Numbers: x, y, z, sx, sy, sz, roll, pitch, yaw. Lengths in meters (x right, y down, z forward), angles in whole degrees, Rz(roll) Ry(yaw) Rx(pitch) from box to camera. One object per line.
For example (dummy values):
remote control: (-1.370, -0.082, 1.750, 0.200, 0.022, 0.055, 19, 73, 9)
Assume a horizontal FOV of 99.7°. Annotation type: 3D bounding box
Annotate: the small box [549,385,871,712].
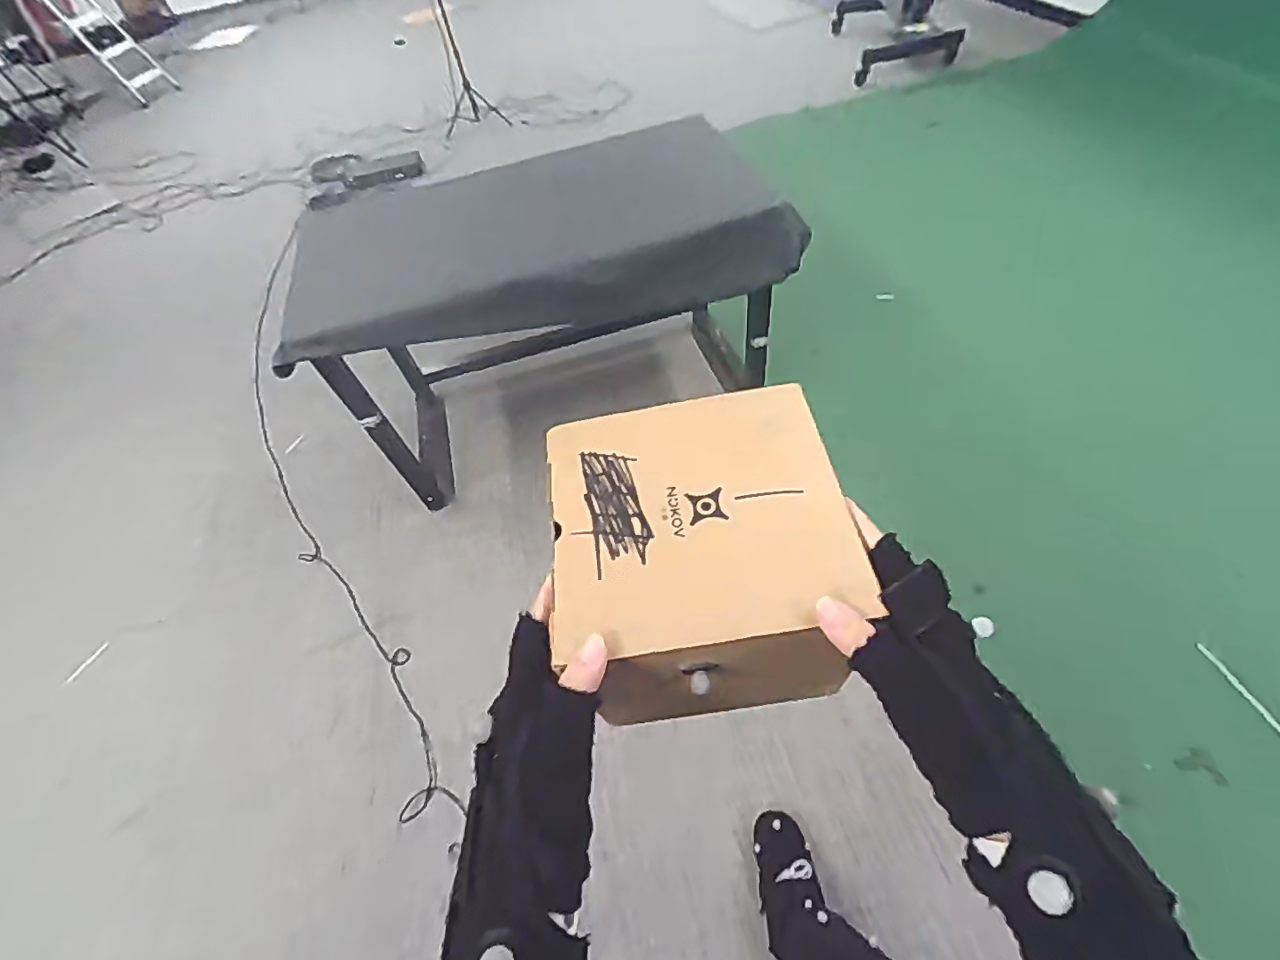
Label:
small box: (0.041, 0.059, 0.398, 0.179, 0.176, 0.168, -10, 54, 2)
